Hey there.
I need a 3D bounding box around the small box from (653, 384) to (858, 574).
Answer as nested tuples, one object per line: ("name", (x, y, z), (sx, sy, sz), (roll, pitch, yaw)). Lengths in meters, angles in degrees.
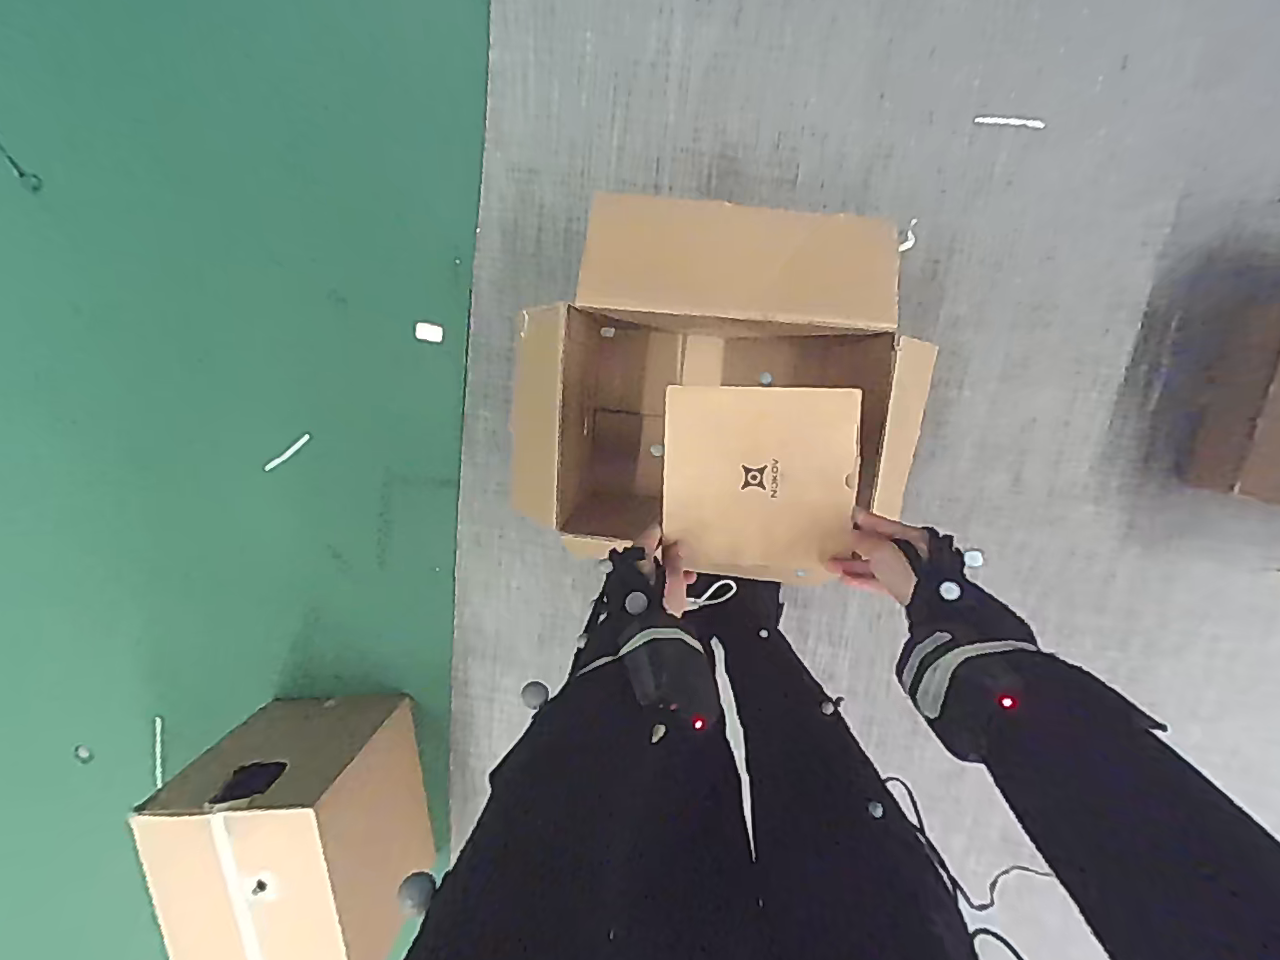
("small box", (0.106, -0.005, 0.564), (0.179, 0.176, 0.168), (2, 94, 2))
